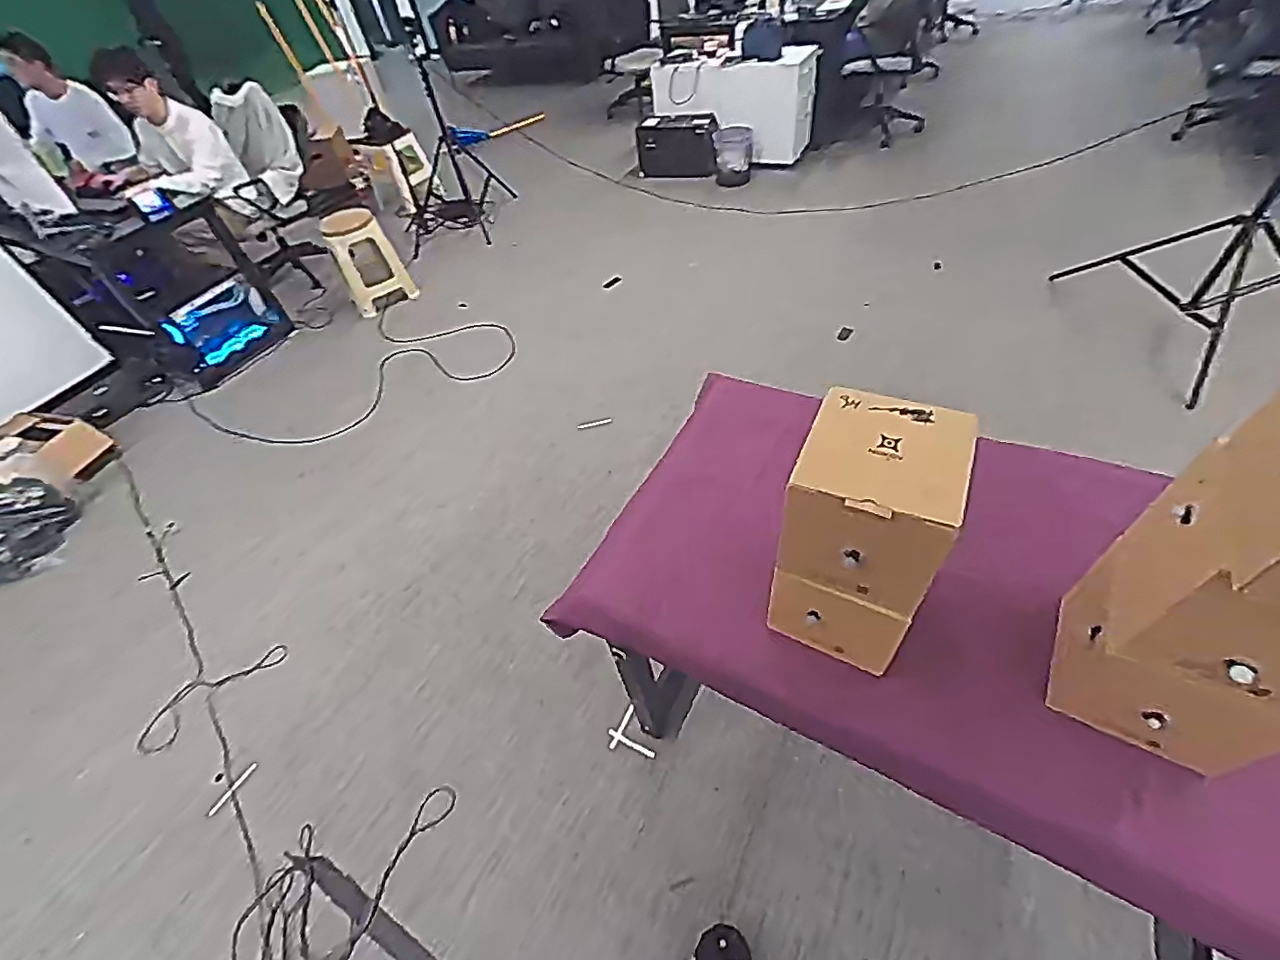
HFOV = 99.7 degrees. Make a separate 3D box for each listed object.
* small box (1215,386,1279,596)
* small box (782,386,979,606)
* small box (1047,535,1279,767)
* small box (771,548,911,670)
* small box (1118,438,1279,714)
[{"bbox_3d":[0.576,0.004,0.387,0.168,0.176,0.179,19,54,23],"label":"small box"},{"bbox_3d":[0.274,0.020,0.641,0.168,0.176,0.179,18,53,22],"label":"small box"},{"bbox_3d":[0.620,0.204,0.642,0.168,0.176,0.179,22,55,25],"label":"small box"},{"bbox_3d":[0.291,0.134,0.758,0.168,0.176,0.179,20,54,24],"label":"small box"},{"bbox_3d":[0.604,0.094,0.520,0.168,0.176,0.179,21,56,25],"label":"small box"}]
